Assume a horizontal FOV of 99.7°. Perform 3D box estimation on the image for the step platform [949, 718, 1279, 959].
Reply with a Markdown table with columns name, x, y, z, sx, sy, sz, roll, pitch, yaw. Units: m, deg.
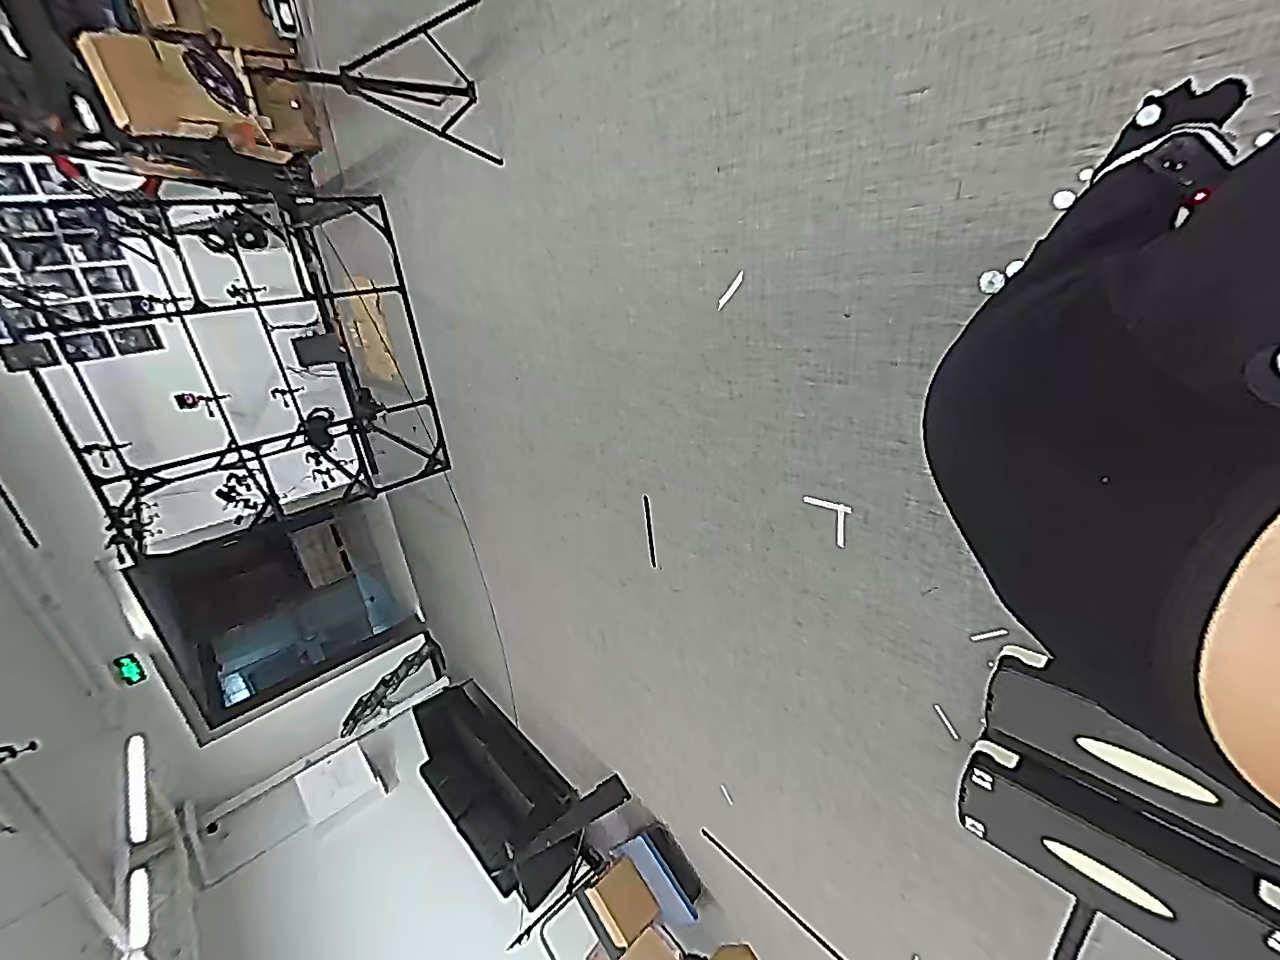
| name | x | y | z | sx | sy | sz | roll | pitch | yaw |
| --- | --- | --- | --- | --- | --- | --- | --- | --- | --- |
| step platform | 1.203 | 0.941 | 1.417 | 0.684 | 0.204 | 0.286 | 18 | 123 | 47 |
